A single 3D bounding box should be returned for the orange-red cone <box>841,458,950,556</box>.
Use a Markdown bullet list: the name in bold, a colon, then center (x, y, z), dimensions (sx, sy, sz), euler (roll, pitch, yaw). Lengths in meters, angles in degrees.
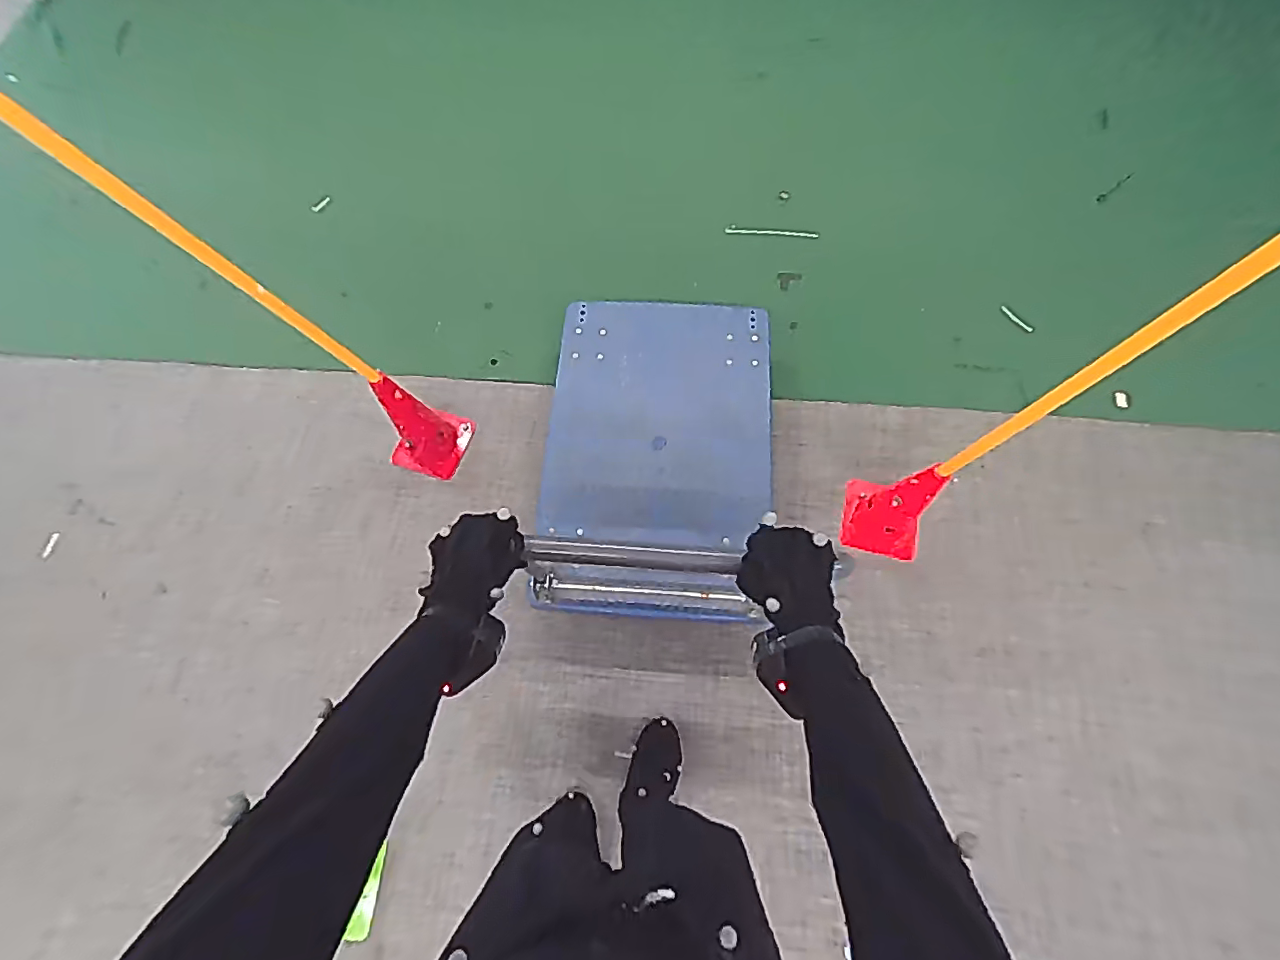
- **orange-red cone**: center (0.648, 0.034, 1.305), dimensions (0.198, 0.360, 0.199), euler (15, 71, 8)
